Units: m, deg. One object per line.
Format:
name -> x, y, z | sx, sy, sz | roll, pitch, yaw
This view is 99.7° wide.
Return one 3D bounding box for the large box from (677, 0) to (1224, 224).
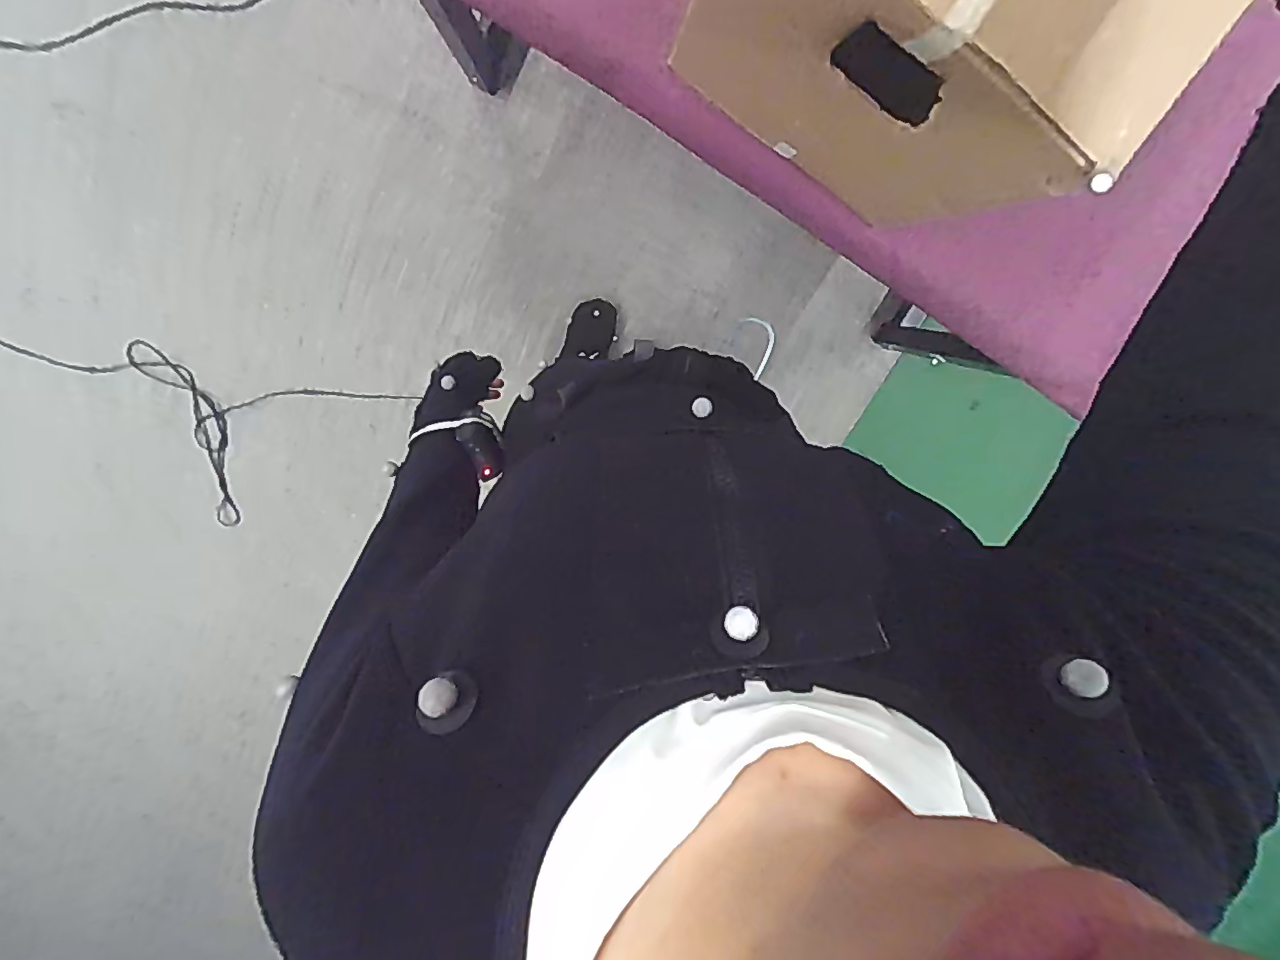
large box -> 0.279, -0.493, 0.445 | 0.320, 0.320, 0.408 | 29, 105, -14
